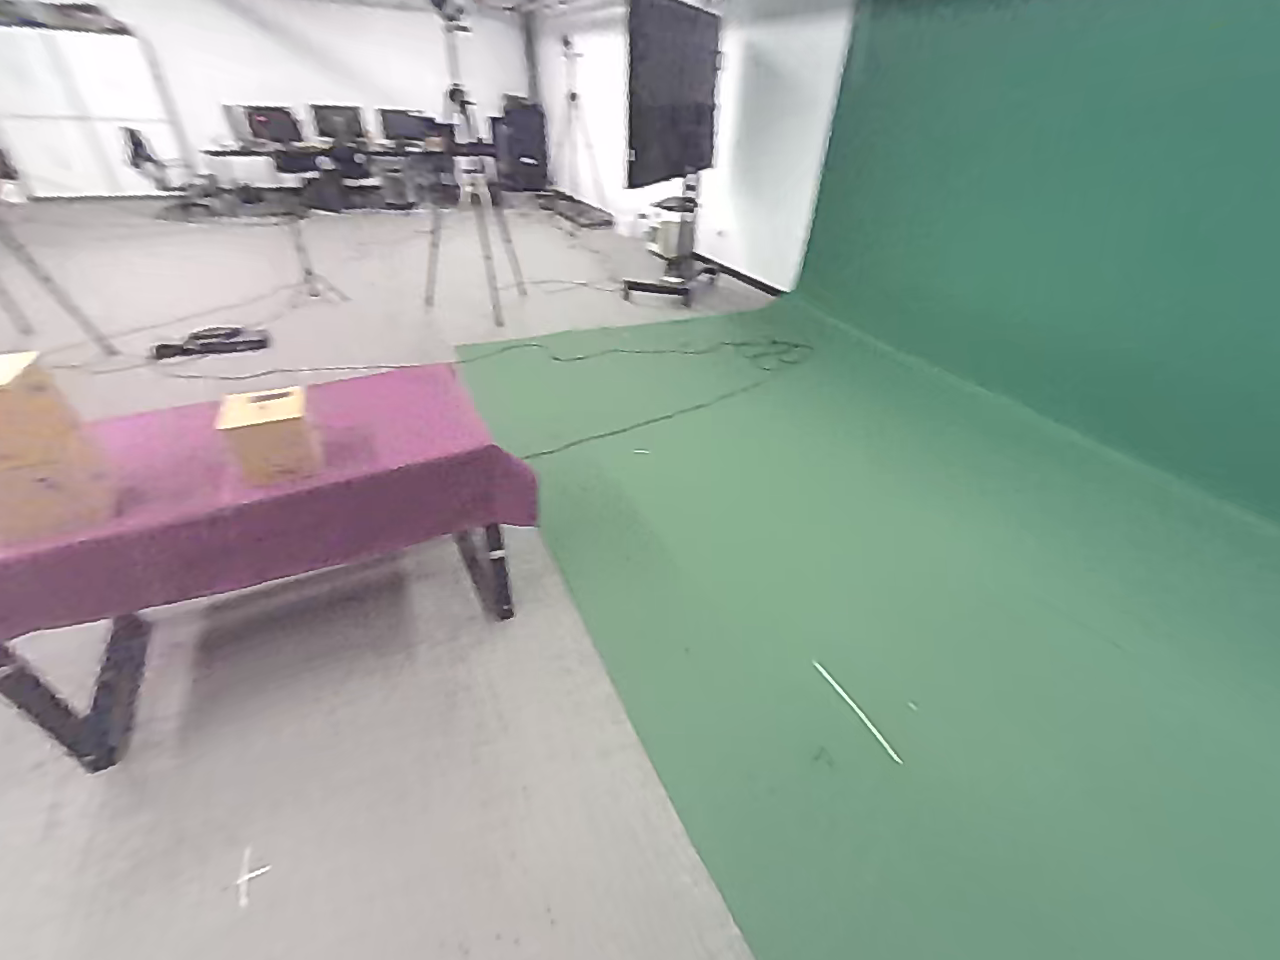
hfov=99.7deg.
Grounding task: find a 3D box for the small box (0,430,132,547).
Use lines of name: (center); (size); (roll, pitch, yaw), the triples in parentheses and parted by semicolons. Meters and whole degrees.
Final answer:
small box: (-1.260, 0.016, 1.170); (0.179, 0.176, 0.168); (-15, 38, -22)
